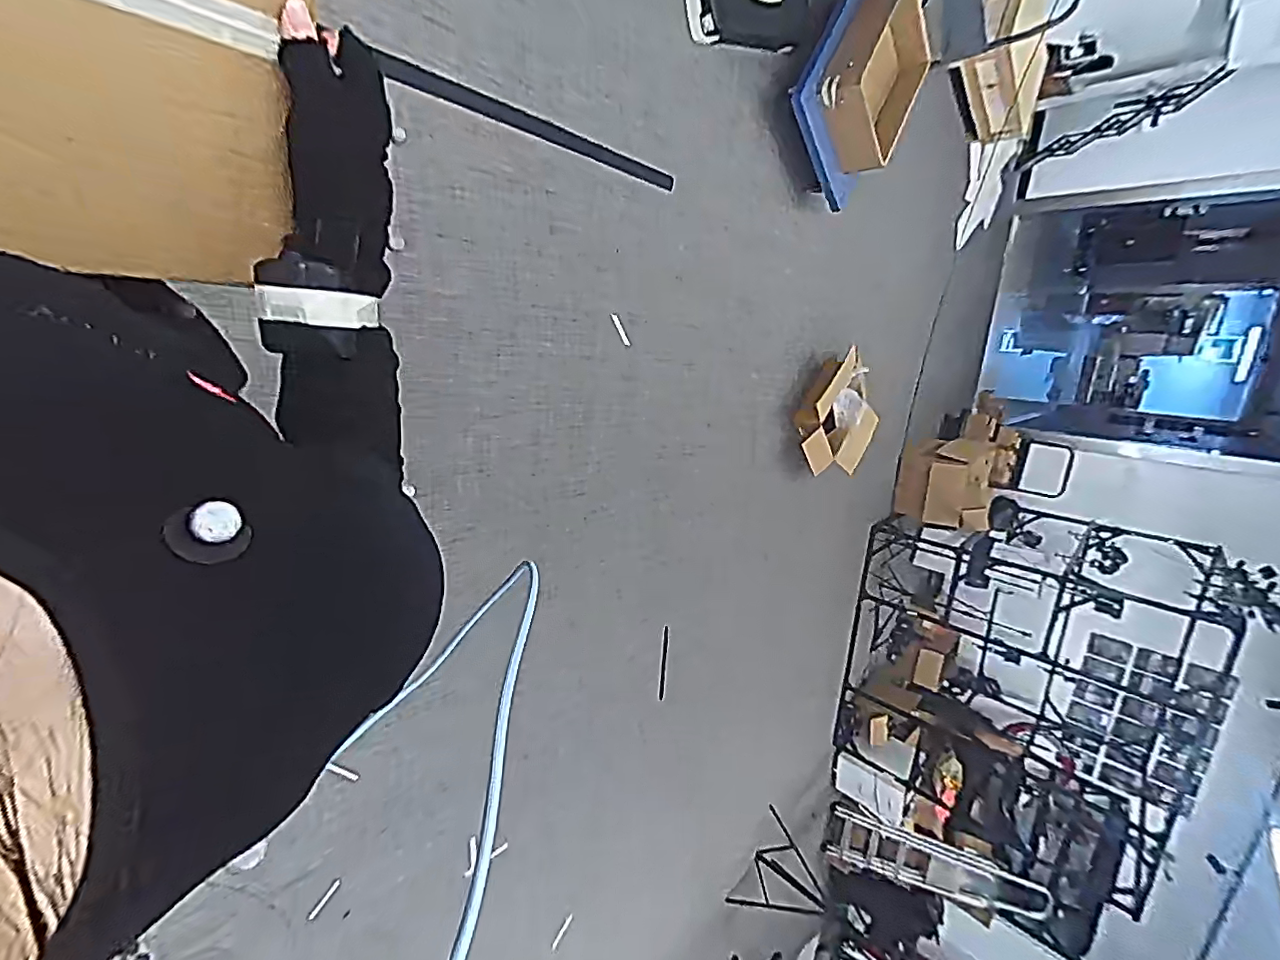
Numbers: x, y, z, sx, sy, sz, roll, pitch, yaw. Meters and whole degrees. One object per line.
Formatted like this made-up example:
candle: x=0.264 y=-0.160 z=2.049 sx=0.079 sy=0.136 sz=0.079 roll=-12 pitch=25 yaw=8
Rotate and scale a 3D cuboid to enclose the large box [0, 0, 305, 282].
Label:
large box: x=-0.440 y=-0.330 z=0.267 sx=0.408 sy=0.320 sz=0.320 roll=-14 pitch=140 yaw=-46
